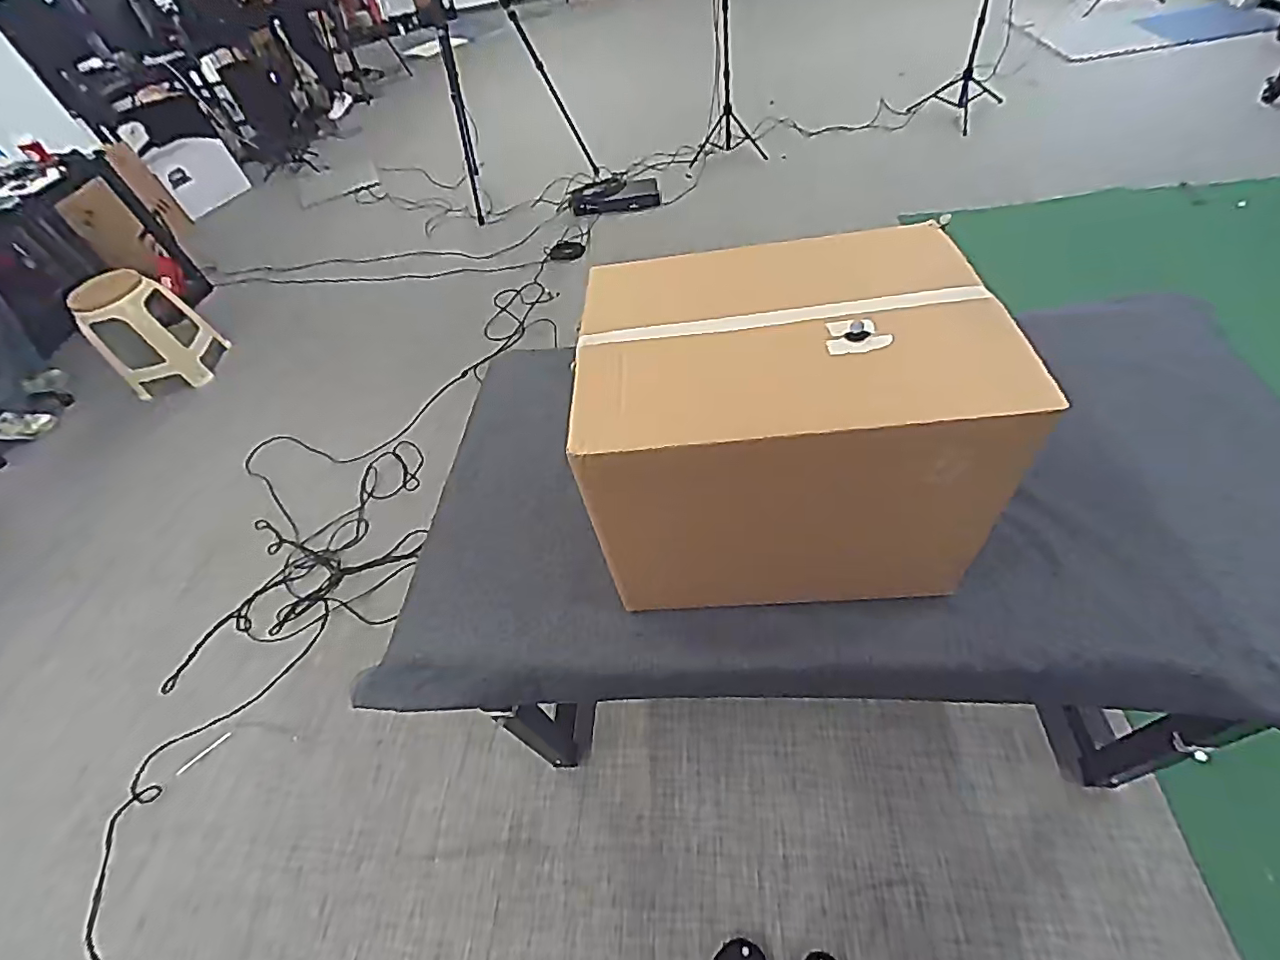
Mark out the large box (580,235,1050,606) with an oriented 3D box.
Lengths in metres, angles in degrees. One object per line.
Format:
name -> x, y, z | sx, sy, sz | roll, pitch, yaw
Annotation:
large box -> 0.158, -0.060, 0.667 | 0.408, 0.320, 0.320 | -4, 51, 6
